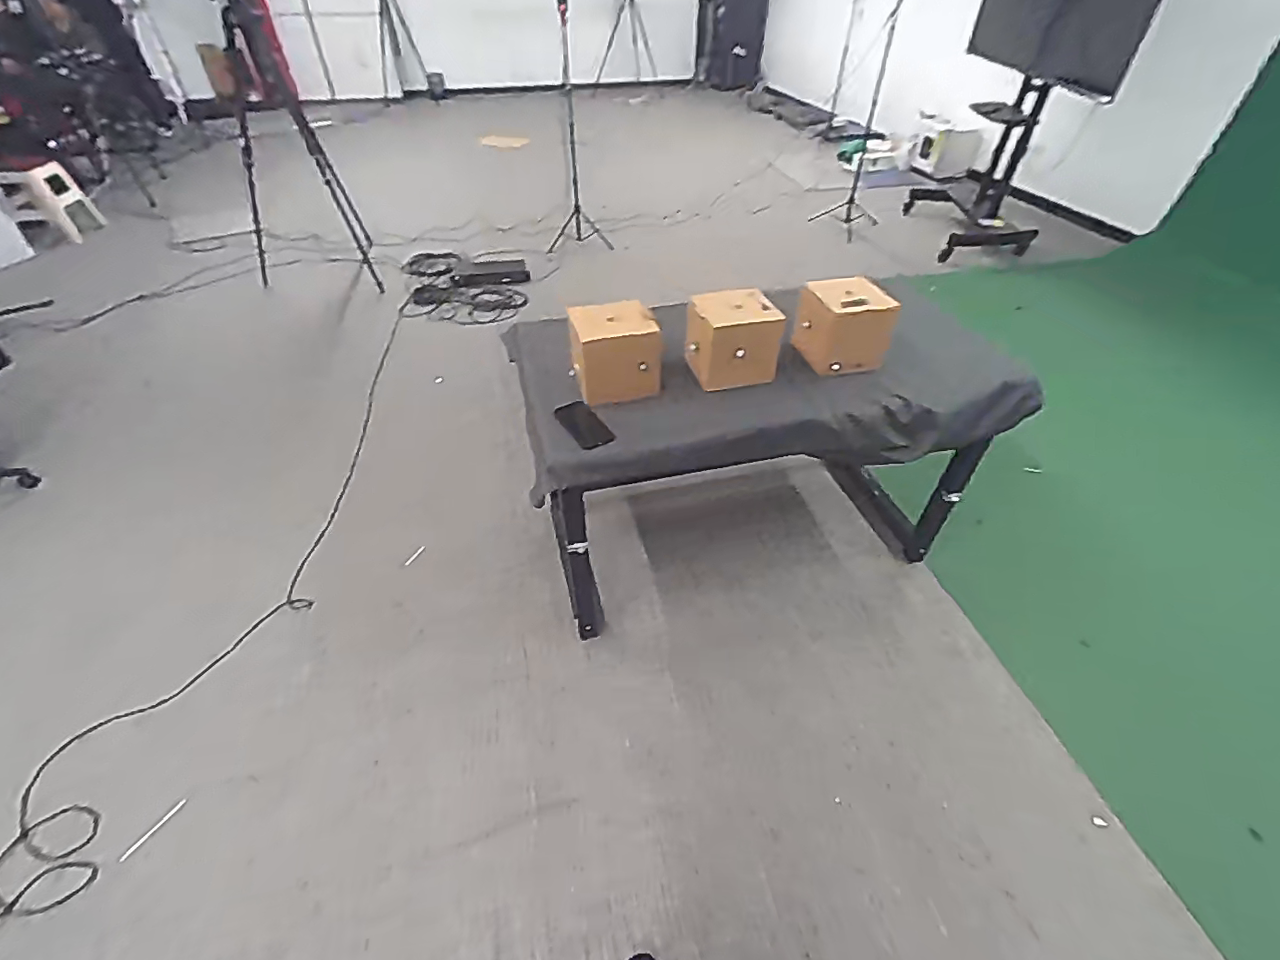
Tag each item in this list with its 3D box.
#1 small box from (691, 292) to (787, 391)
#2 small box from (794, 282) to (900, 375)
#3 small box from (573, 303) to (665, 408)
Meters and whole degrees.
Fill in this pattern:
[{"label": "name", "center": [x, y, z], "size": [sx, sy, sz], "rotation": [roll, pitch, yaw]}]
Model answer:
[{"label": "small box", "center": [0.228, -0.329, 1.299], "size": [0.179, 0.176, 0.168], "rotation": [-10, 45, -11]}, {"label": "small box", "center": [0.506, -0.373, 1.348], "size": [0.168, 0.176, 0.179], "rotation": [-8, 43, -10]}, {"label": "small box", "center": [-0.050, -0.289, 1.255], "size": [0.179, 0.176, 0.168], "rotation": [-12, 44, -12]}]
